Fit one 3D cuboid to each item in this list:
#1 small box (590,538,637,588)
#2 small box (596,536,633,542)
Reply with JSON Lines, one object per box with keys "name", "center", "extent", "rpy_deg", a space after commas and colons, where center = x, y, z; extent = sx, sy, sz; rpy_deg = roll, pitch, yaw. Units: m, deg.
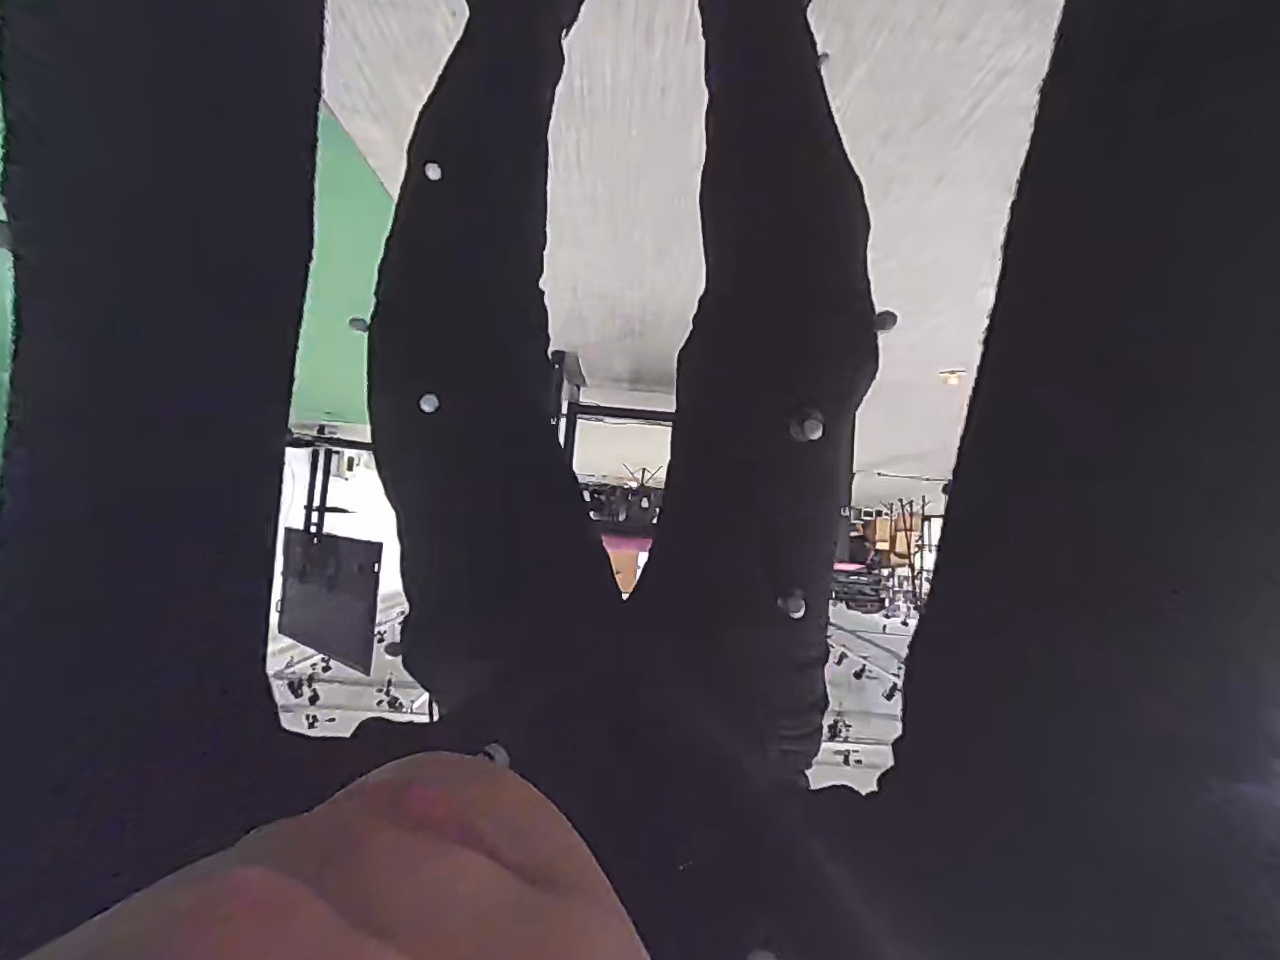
{"name": "small box", "center": [-0.106, 0.322, 2.125], "extent": [0.179, 0.176, 0.168], "rpy_deg": [4, 177, -4]}
{"name": "small box", "center": [-0.119, 0.335, 2.375], "extent": [0.168, 0.176, 0.179], "rpy_deg": [5, 177, -2]}
